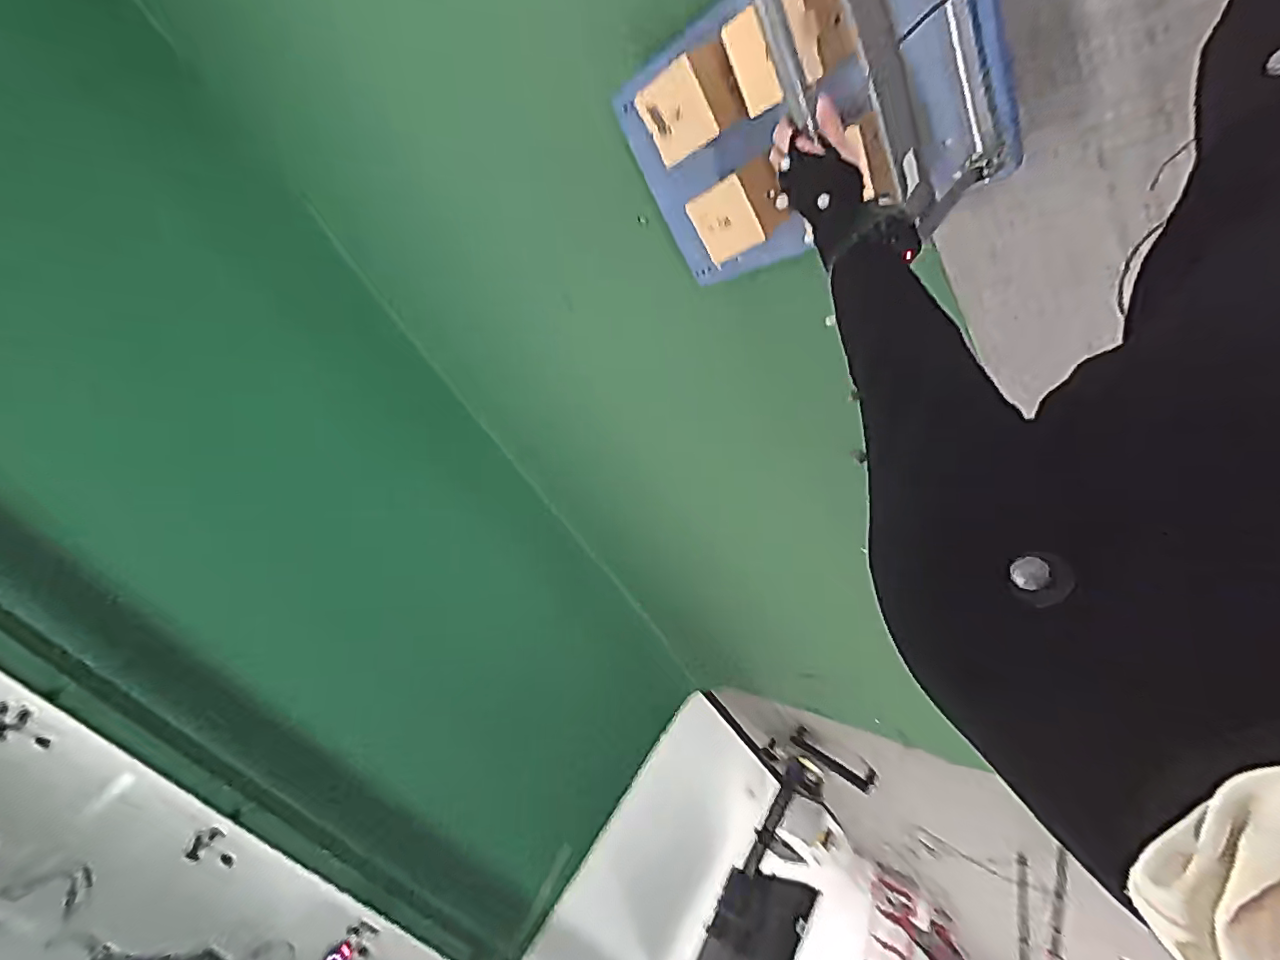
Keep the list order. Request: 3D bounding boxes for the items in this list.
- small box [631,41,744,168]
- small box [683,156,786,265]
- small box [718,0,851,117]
[{"bbox_3d":[0.119,-0.883,1.278,0.179,0.176,0.168,-3,129,49],"label":"small box"},{"bbox_3d":[0.250,-0.689,1.384,0.179,0.176,0.168,-5,126,51],"label":"small box"},{"bbox_3d":[0.294,-0.879,1.090,0.179,0.176,0.168,0,131,47],"label":"small box"}]
